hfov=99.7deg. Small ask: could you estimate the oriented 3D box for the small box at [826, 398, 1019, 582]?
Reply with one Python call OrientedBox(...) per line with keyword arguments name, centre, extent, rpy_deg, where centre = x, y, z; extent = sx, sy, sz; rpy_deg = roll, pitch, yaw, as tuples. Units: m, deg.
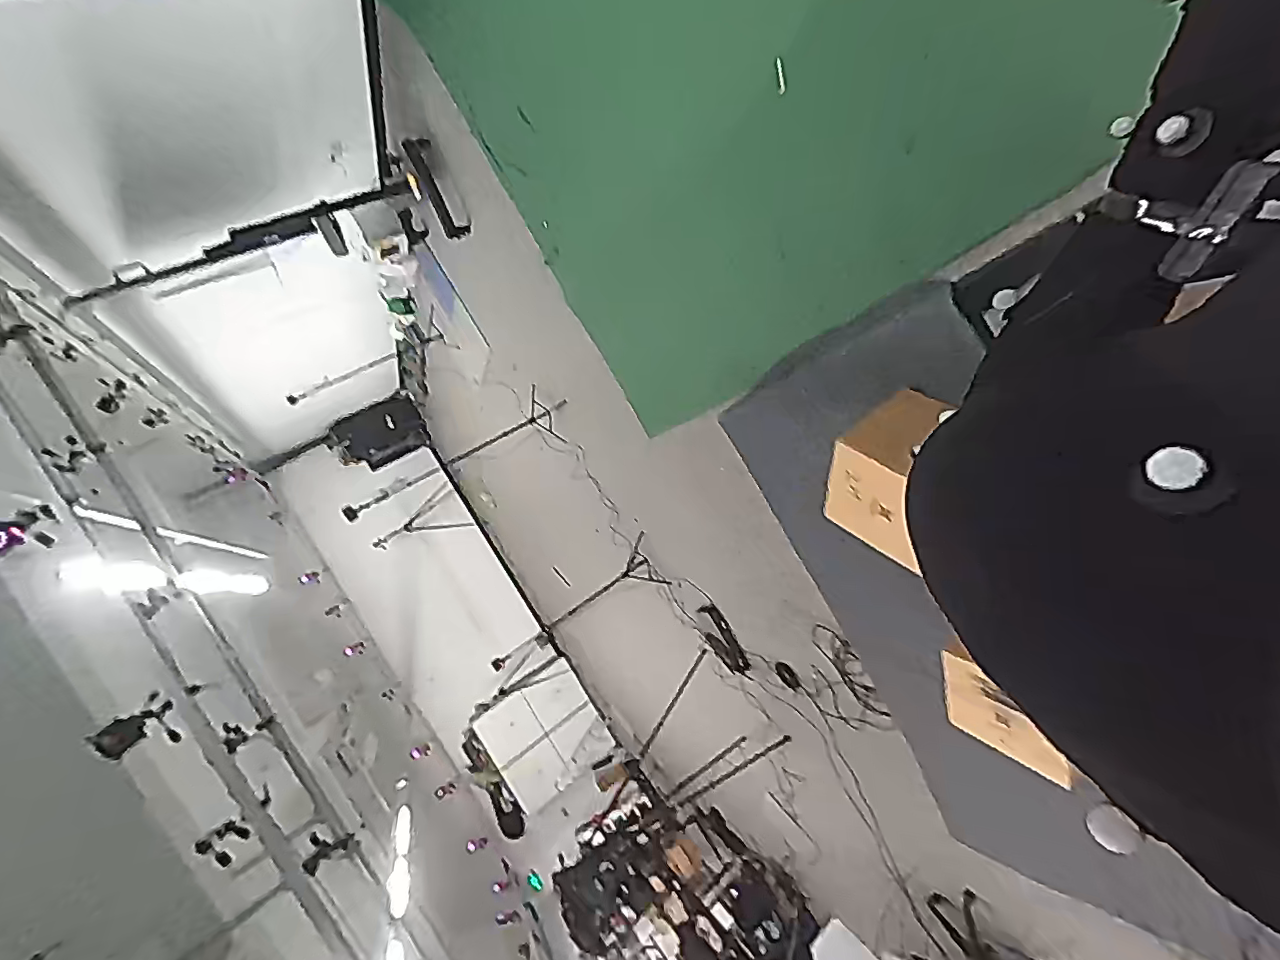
OrientedBox(name="small box", centre=(0.403, 0.006, 0.788), extent=(0.179, 0.176, 0.168), rpy_deg=(38, 151, 37))
